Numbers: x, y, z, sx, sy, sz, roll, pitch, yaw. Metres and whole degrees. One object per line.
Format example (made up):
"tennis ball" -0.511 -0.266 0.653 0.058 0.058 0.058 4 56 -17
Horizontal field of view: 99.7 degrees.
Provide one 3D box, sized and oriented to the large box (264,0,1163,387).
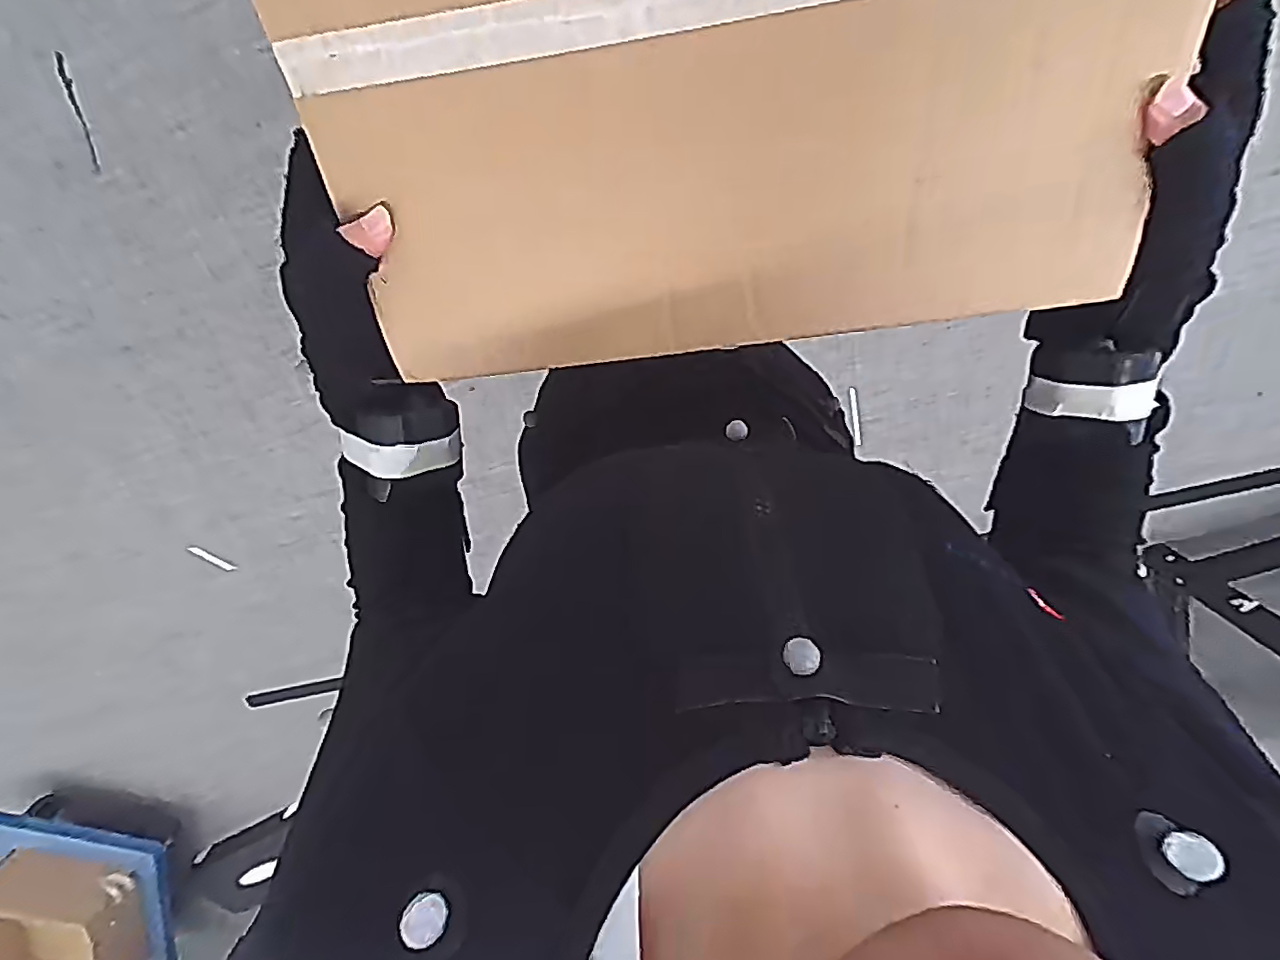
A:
"large box" 0.036 -0.288 0.369 0.408 0.320 0.320 -6 121 6
